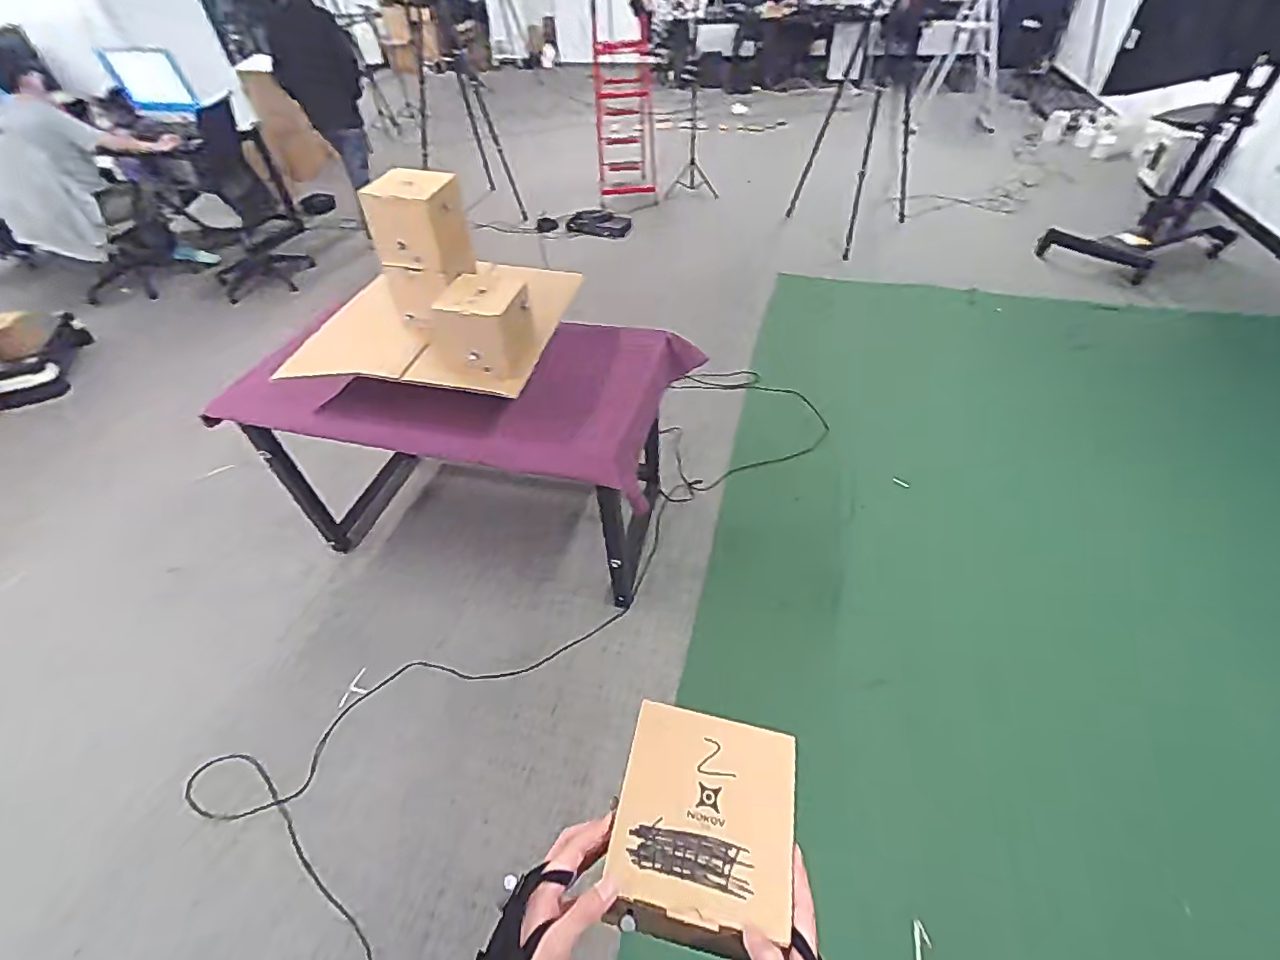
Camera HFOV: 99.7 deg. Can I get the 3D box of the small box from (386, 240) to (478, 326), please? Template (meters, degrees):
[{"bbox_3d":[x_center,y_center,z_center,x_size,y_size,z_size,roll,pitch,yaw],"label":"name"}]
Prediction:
[{"bbox_3d":[-0.530,-0.525,1.431,0.168,0.176,0.179,9,47,7],"label":"small box"}]

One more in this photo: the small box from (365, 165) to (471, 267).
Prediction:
[{"bbox_3d":[-0.528,-0.641,1.318,0.168,0.176,0.179,9,48,6],"label":"small box"}]

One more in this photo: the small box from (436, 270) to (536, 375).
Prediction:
[{"bbox_3d":[-0.357,-0.377,1.295,0.168,0.176,0.179,9,48,9],"label":"small box"}]
